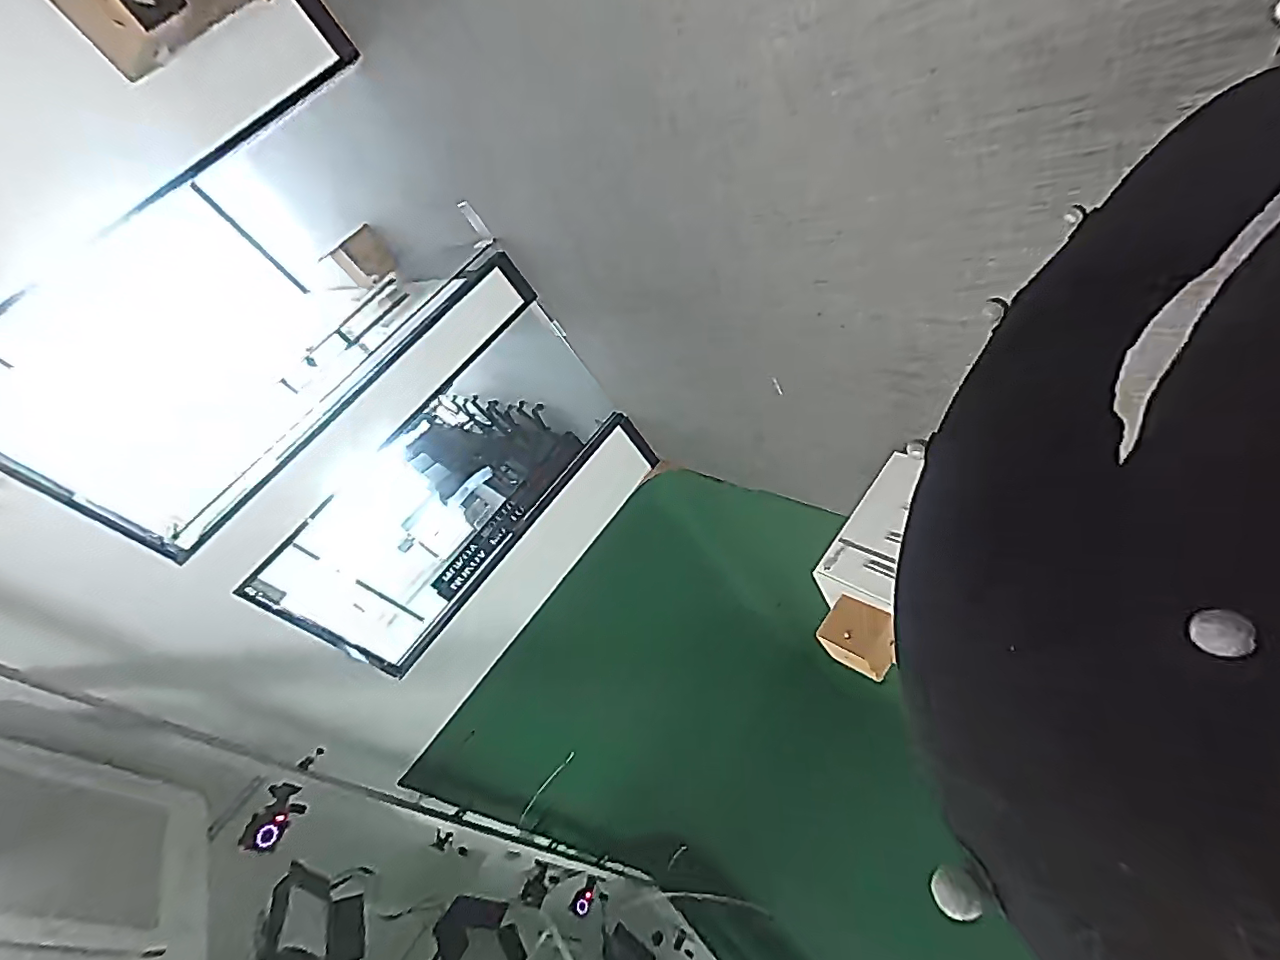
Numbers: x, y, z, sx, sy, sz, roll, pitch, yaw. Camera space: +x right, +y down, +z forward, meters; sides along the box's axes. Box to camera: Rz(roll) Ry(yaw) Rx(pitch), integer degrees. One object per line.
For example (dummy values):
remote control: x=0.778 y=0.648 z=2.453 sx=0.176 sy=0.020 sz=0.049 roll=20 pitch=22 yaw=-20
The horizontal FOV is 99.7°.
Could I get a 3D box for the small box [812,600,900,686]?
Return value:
small box: x=0.683 y=0.506 z=1.709 sx=0.179 sy=0.176 sz=0.168 roll=19 pitch=154 yaw=52
